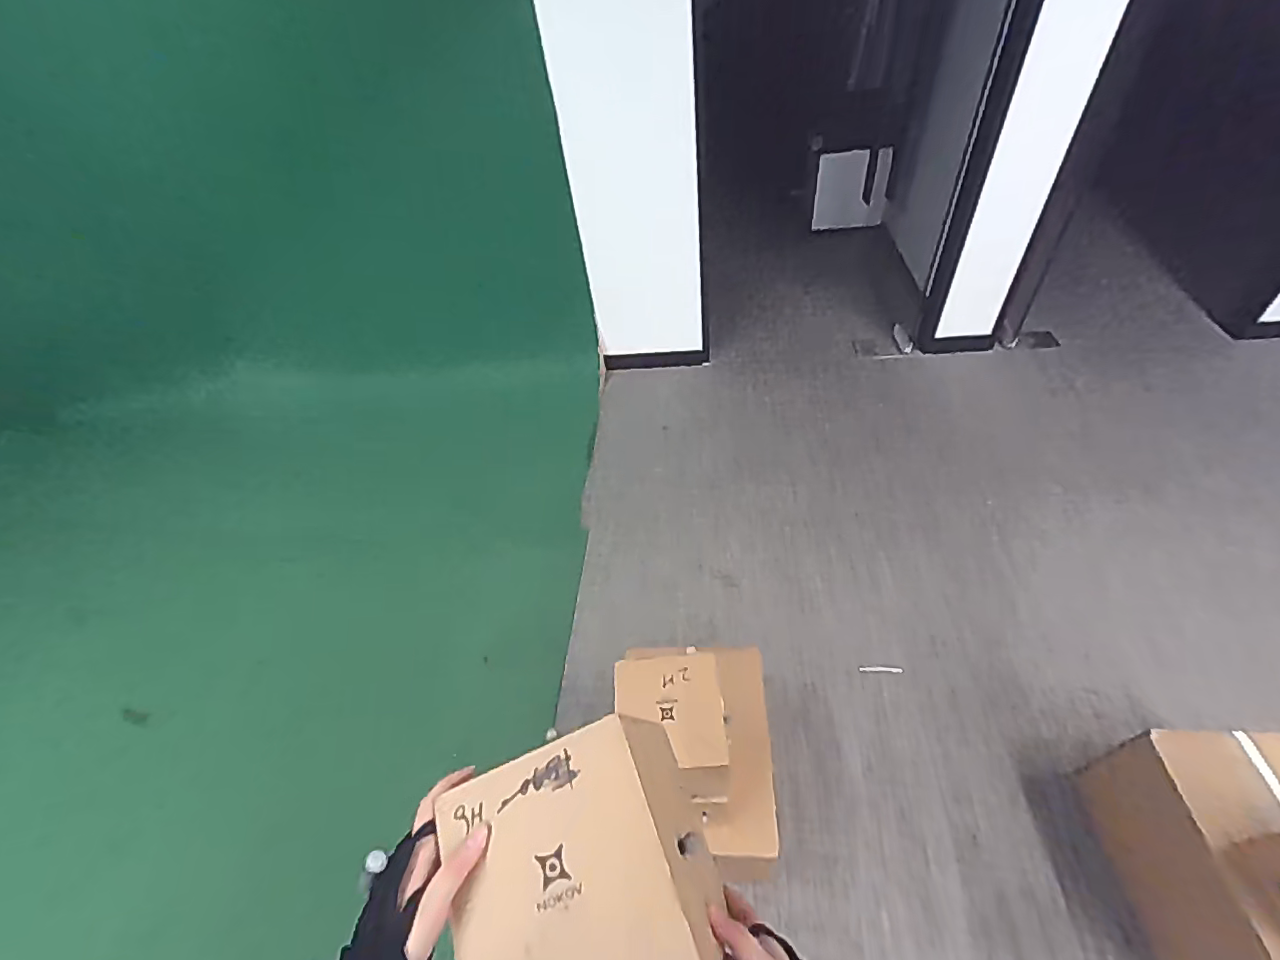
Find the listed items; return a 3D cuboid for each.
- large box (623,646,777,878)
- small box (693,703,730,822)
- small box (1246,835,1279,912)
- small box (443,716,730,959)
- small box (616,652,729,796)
[{"bbox_3d":[0.122,0.634,1.224,0.320,0.320,0.408,-2,47,7],"label":"large box"},{"bbox_3d":[0.073,0.521,1.001,0.179,0.176,0.168,-4,46,7],"label":"small box"},{"bbox_3d":[1.070,0.607,0.777,0.179,0.176,0.168,-4,48,7],"label":"small box"},{"bbox_3d":[-0.035,0.318,0.458,0.168,0.176,0.179,-25,61,2],"label":"small box"},{"bbox_3d":[0.054,0.406,0.885,0.168,0.176,0.179,-6,46,3],"label":"small box"}]
